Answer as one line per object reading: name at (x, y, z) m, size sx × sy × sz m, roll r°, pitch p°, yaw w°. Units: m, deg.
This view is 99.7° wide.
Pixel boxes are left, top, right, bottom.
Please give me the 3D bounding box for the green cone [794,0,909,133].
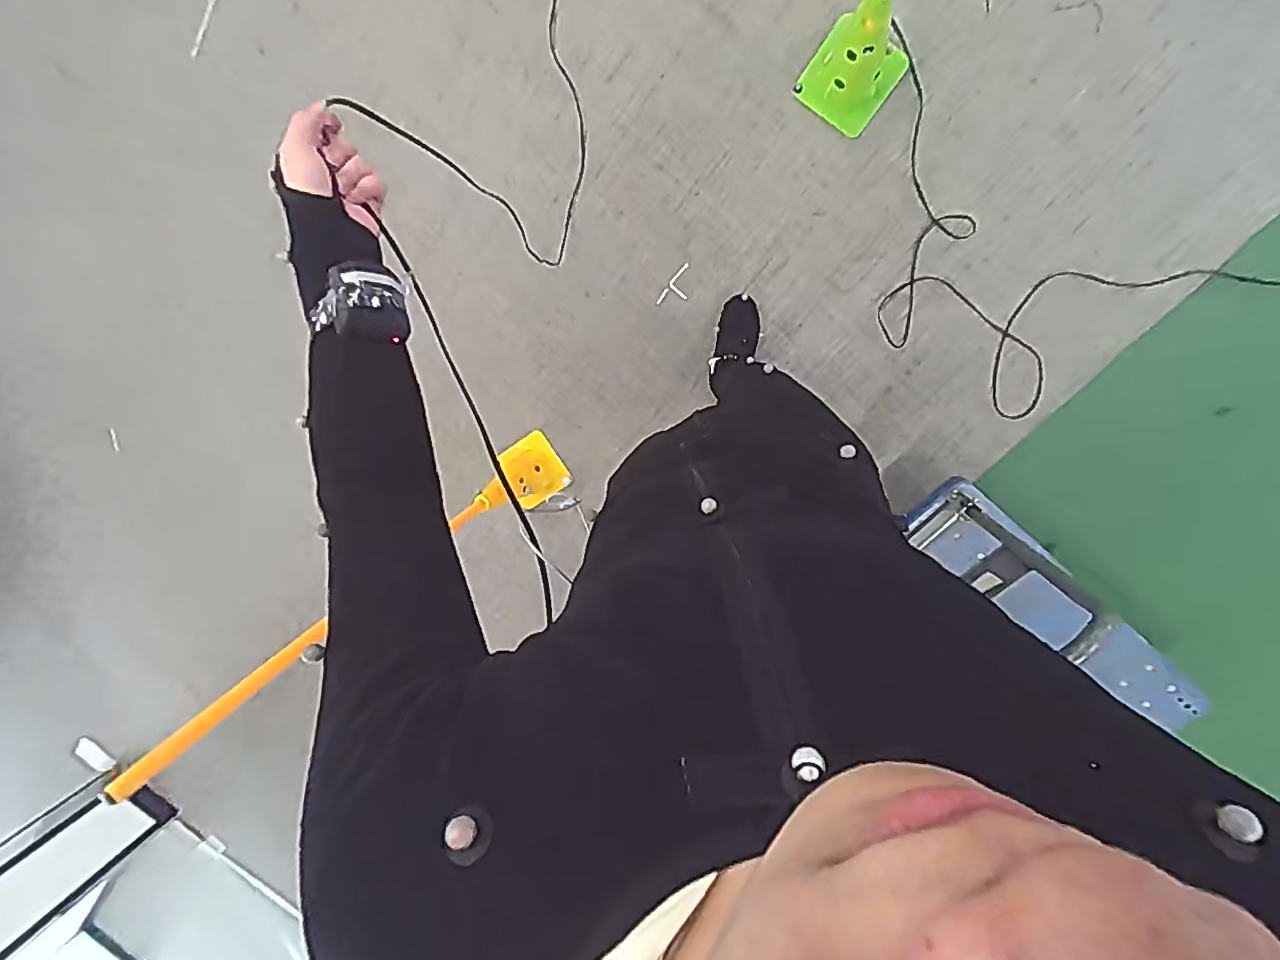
green cone at (0.469, -0.924, 1.119) m, size 0.200 × 0.368 × 0.202 m, roll 36°, pitch 107°, yaw 0°
